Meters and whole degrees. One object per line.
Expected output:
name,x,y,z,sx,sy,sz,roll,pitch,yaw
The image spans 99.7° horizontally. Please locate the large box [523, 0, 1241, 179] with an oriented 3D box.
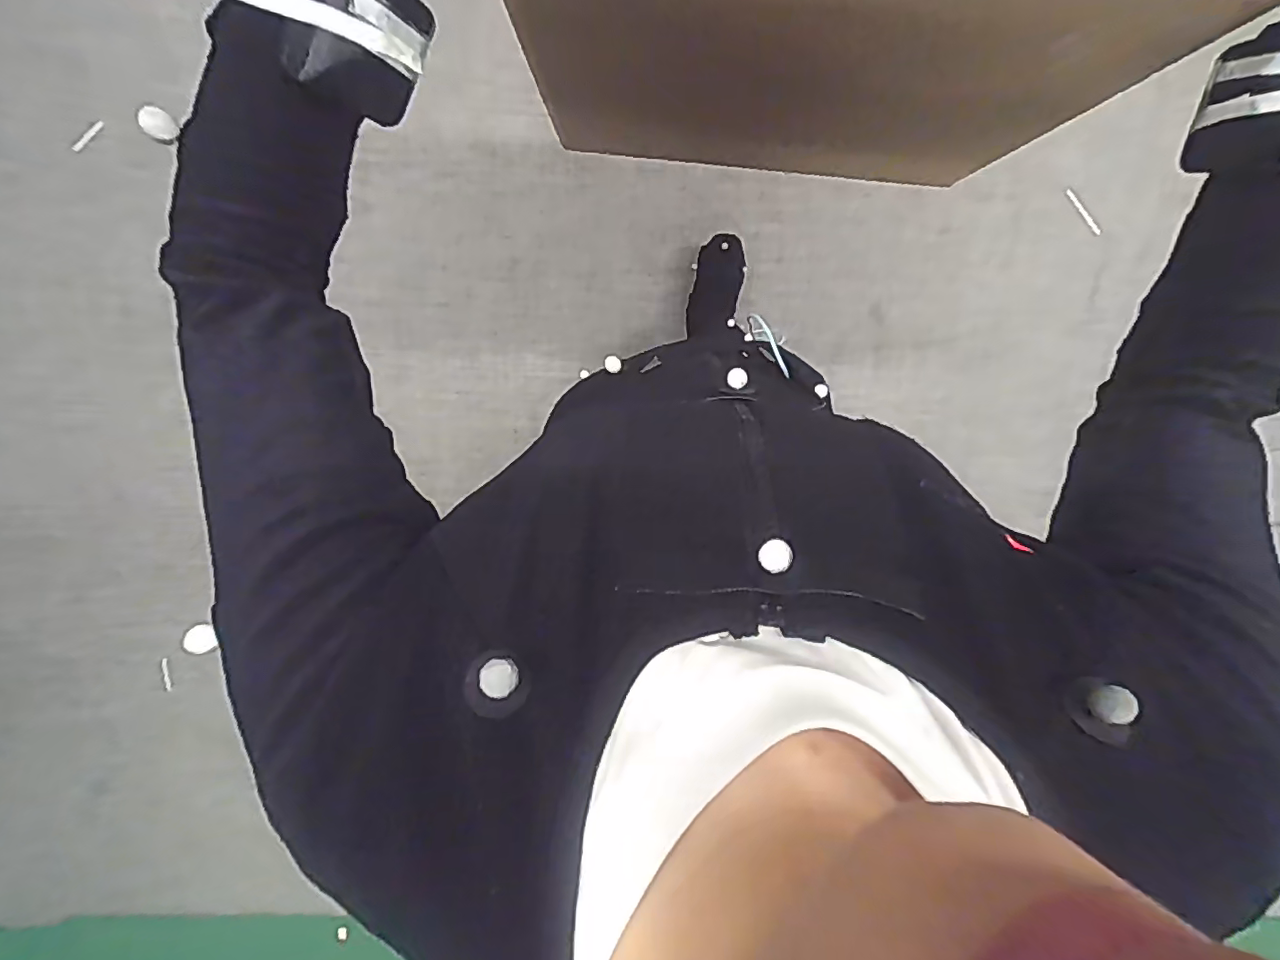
large box,0.131,-0.439,0.384,0.408,0.320,0.320,4,103,-2
